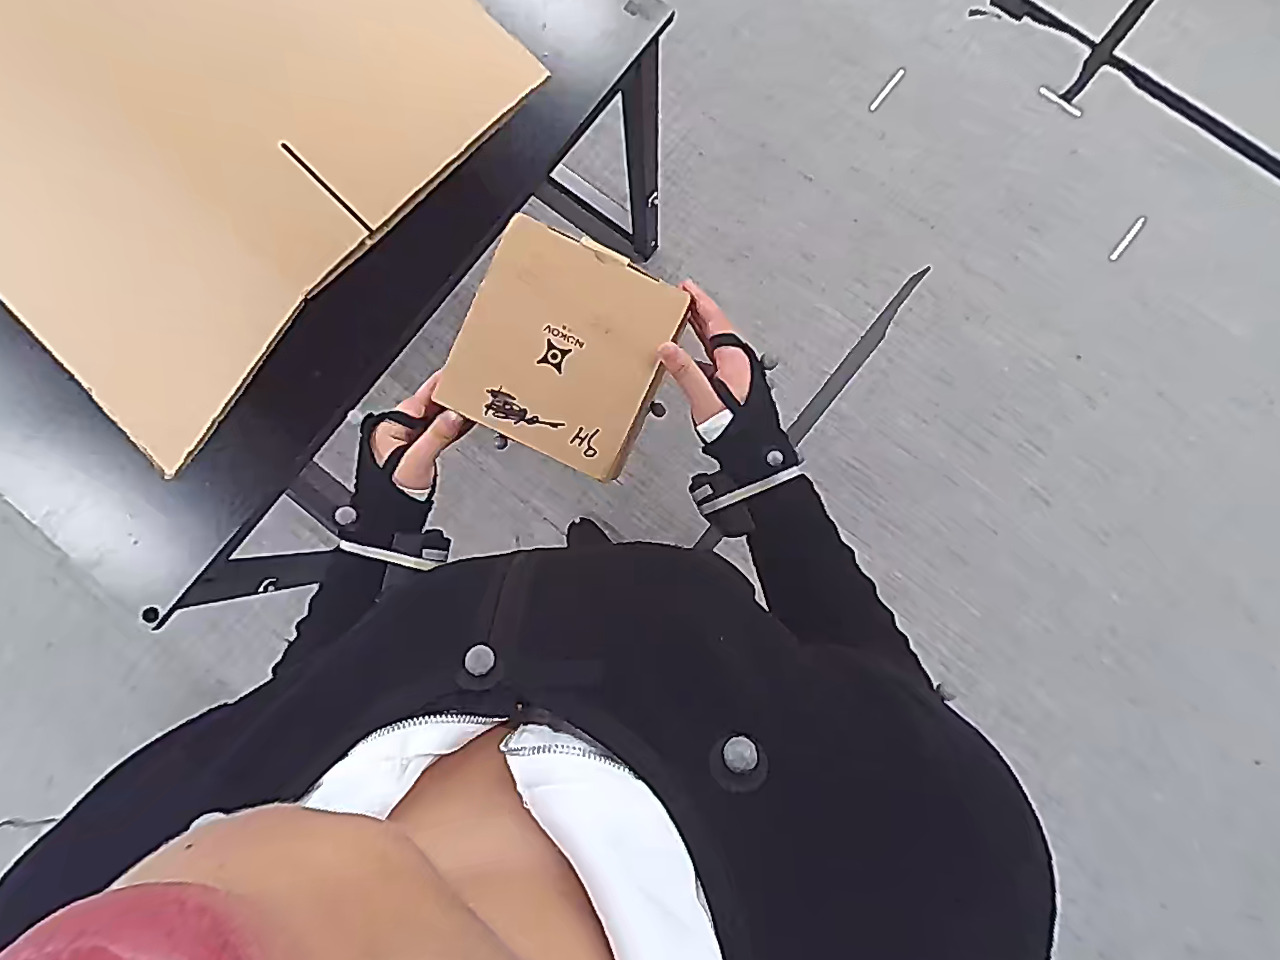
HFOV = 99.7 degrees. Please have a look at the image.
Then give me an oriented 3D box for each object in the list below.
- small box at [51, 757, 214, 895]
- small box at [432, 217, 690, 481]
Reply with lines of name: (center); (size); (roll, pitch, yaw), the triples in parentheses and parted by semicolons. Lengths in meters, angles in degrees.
small box: (-1.132, 0.768, 1.224); (0.179, 0.176, 0.168); (32, 85, 5)
small box: (-0.067, -0.111, 0.534); (0.168, 0.176, 0.179); (26, 91, 1)
